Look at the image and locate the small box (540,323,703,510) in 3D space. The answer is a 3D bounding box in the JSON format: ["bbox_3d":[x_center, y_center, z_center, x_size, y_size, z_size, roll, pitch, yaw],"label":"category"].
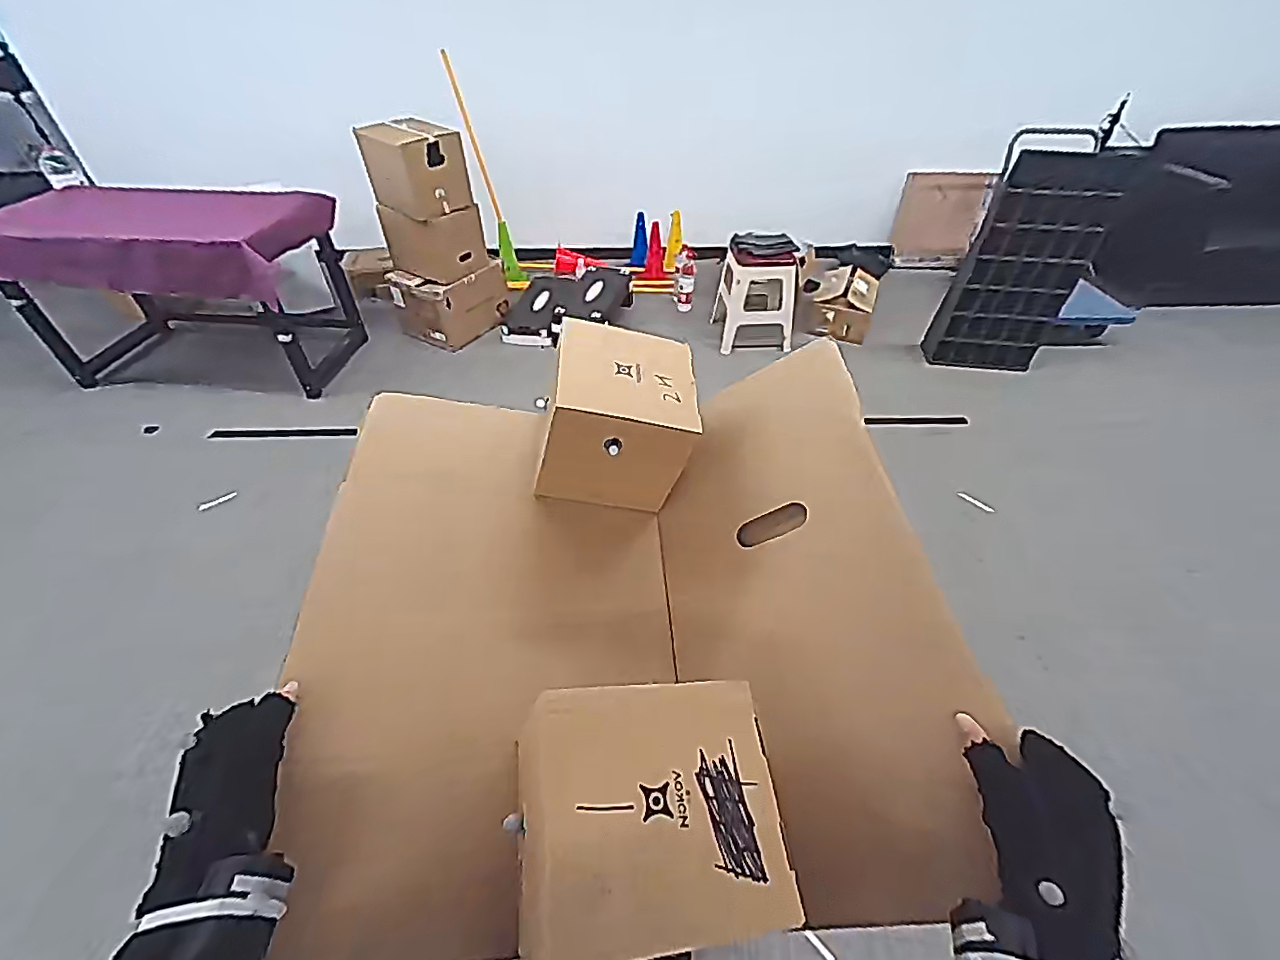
[{"bbox_3d":[-0.032,-0.077,0.724,0.179,0.176,0.168,10,50,-14],"label":"small box"}]
